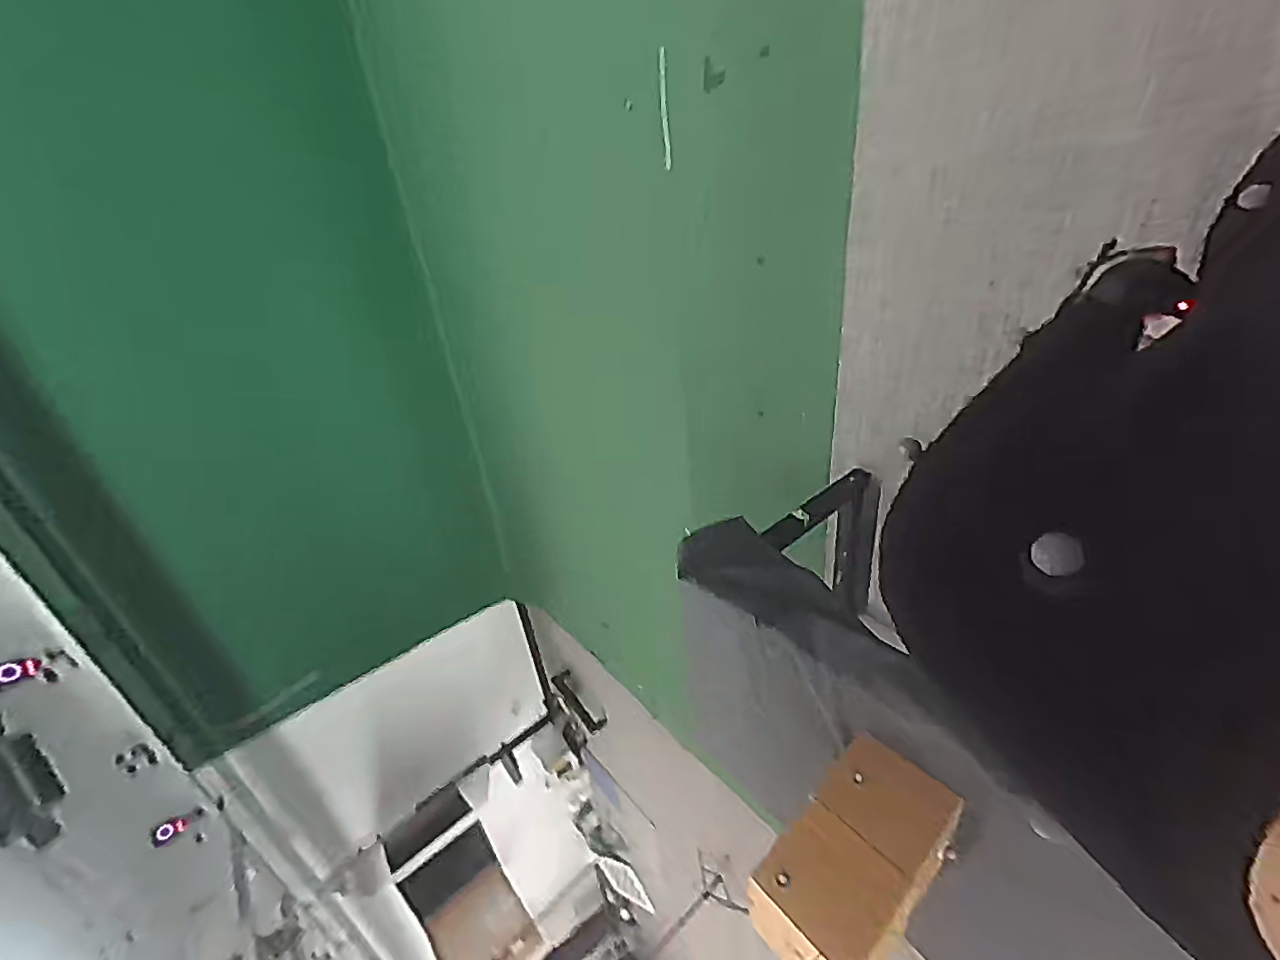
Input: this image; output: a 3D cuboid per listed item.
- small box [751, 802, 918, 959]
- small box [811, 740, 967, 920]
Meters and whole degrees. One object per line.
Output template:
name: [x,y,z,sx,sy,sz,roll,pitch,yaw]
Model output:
small box: [0.291,0.643,0.821,0.179,0.176,0.168,28,136,45]
small box: [0.409,0.574,0.908,0.179,0.176,0.168,25,133,45]
